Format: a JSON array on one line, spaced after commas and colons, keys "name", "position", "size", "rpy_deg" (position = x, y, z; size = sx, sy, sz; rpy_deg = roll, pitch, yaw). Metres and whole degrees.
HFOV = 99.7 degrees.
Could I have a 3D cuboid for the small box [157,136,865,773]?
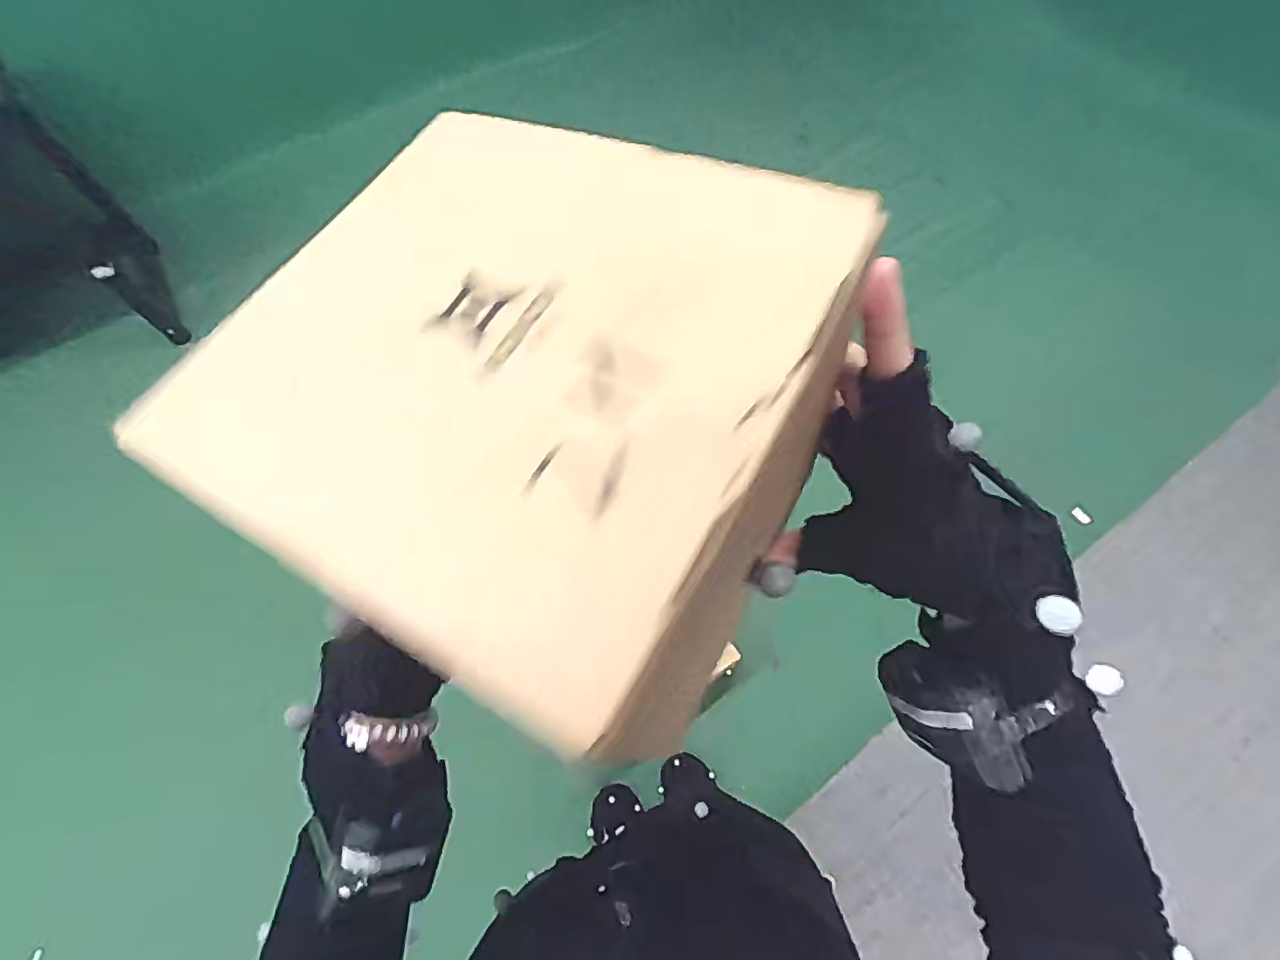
[{"name": "small box", "position": [-0.031, -0.005, 0.239], "size": [0.179, 0.176, 0.168], "rpy_deg": [25, 76, 20]}]
